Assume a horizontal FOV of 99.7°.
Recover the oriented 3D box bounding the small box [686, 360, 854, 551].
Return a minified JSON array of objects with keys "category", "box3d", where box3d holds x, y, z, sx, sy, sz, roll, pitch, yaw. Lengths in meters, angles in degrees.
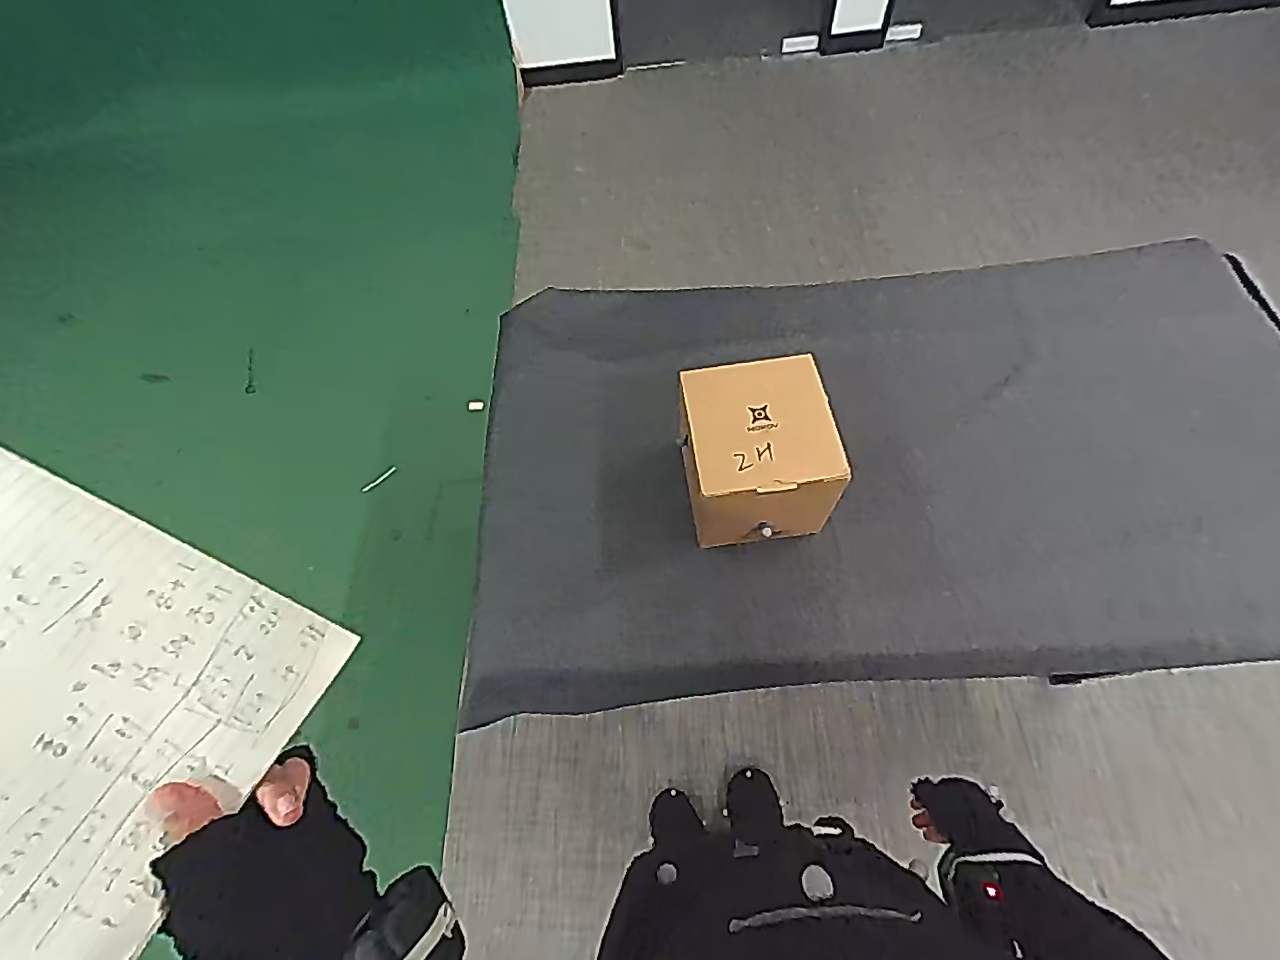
[{"category":"small box","box3d":[0.151,-0.026,0.700,0.168,0.176,0.179,-8,62,2]}]
